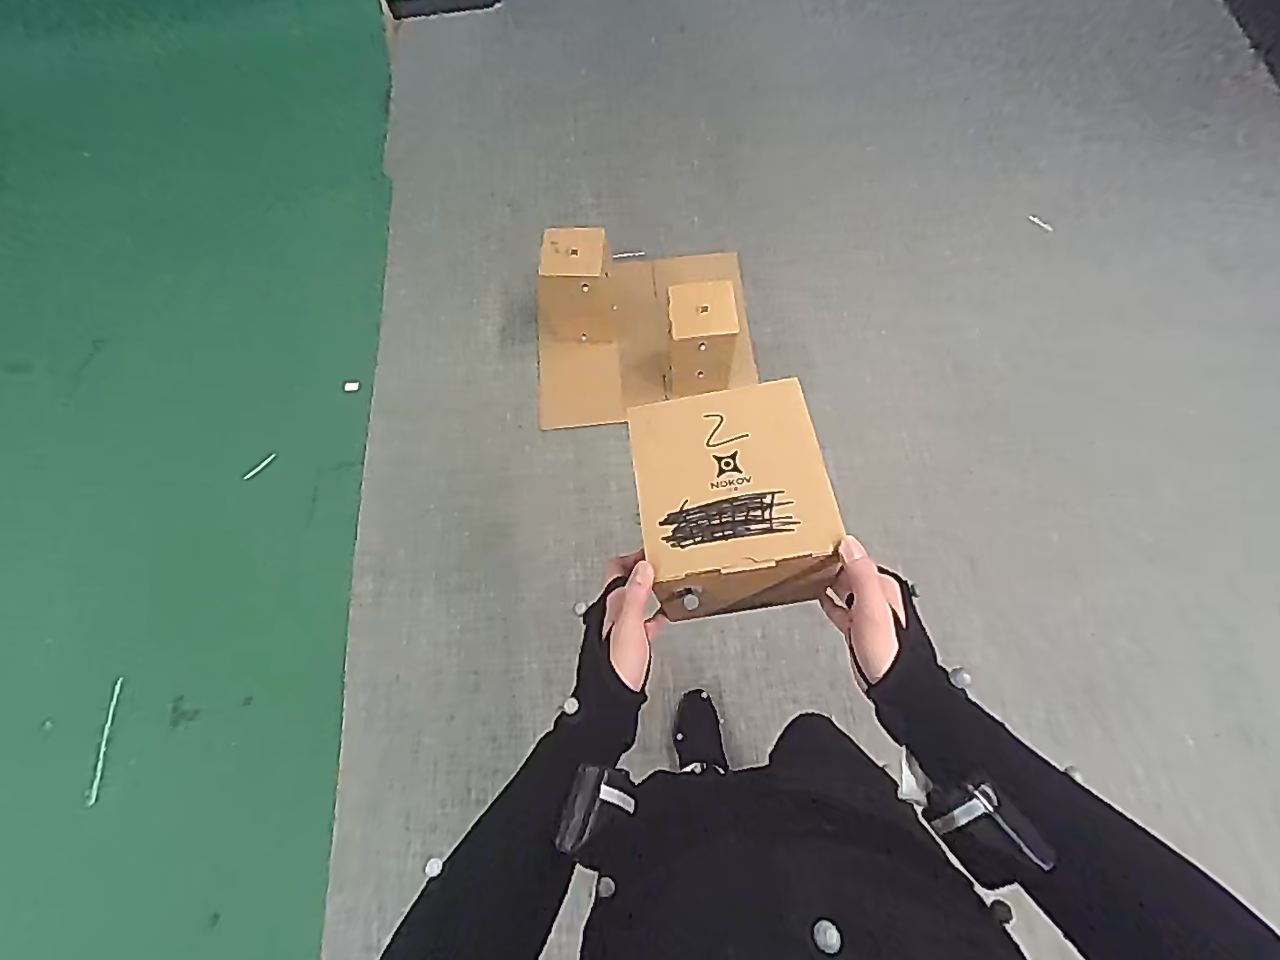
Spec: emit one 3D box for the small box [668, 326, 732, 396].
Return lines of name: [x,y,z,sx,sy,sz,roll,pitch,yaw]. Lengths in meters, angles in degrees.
small box: [0.180,-0.368,1.650,0.179,0.176,0.168,-4,71,2]

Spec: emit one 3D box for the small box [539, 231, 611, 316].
small box: [-0.180,-0.595,1.571,0.179,0.176,0.168,2,71,4]

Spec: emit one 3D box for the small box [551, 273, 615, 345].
small box: [-0.175,-0.547,1.729,0.179,0.176,0.168,3,71,4]

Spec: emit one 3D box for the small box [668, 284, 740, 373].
small box: [0.171,-0.414,1.495,0.179,0.176,0.168,-5,72,3]
